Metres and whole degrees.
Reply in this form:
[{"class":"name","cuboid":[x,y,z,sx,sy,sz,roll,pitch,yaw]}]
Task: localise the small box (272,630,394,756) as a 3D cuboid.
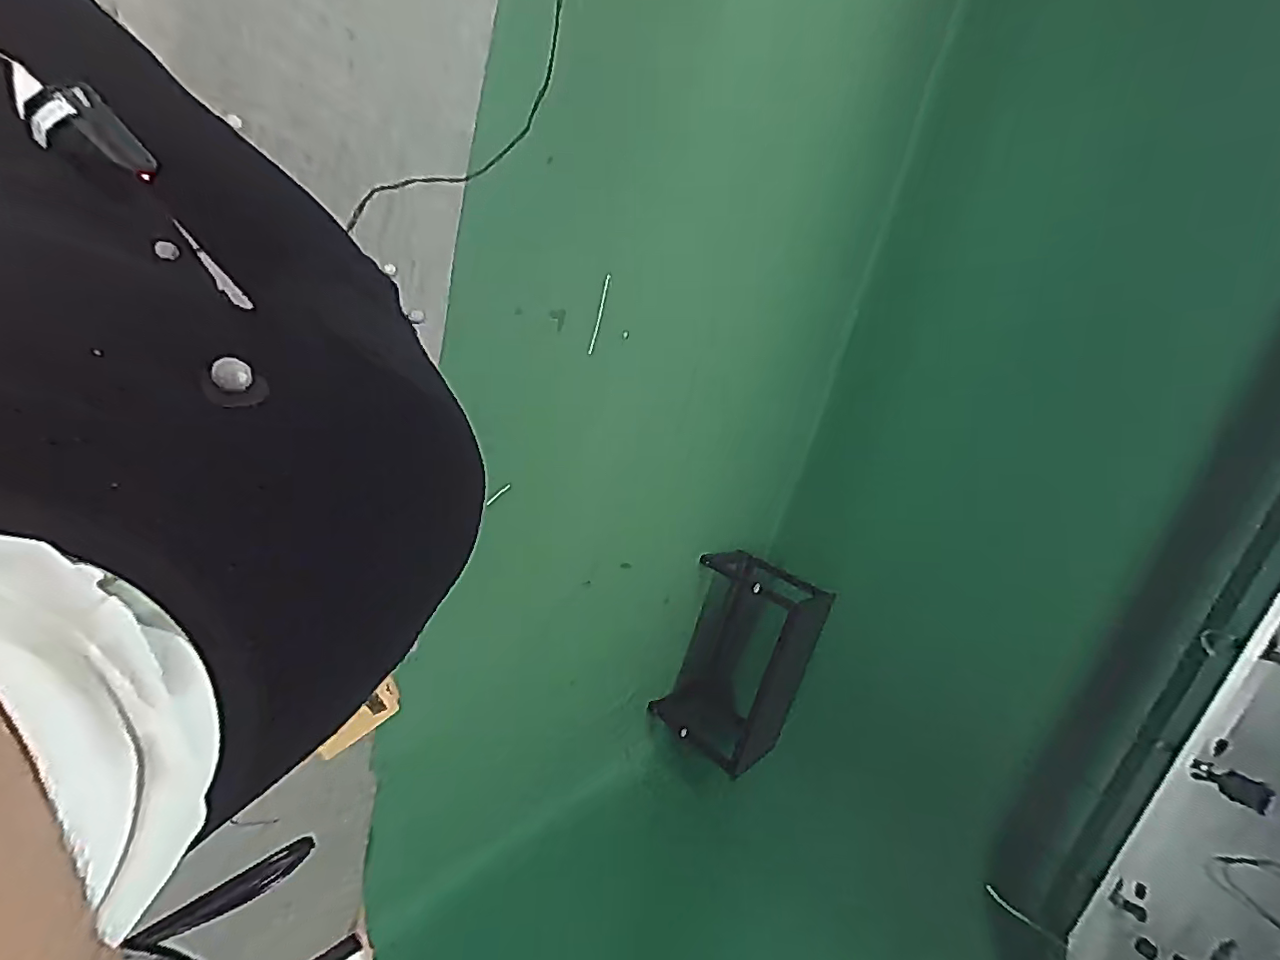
[{"class":"small box","cuboid":[-0.715,0.487,1.264,0.179,0.176,0.168,-32,133,-36]}]
